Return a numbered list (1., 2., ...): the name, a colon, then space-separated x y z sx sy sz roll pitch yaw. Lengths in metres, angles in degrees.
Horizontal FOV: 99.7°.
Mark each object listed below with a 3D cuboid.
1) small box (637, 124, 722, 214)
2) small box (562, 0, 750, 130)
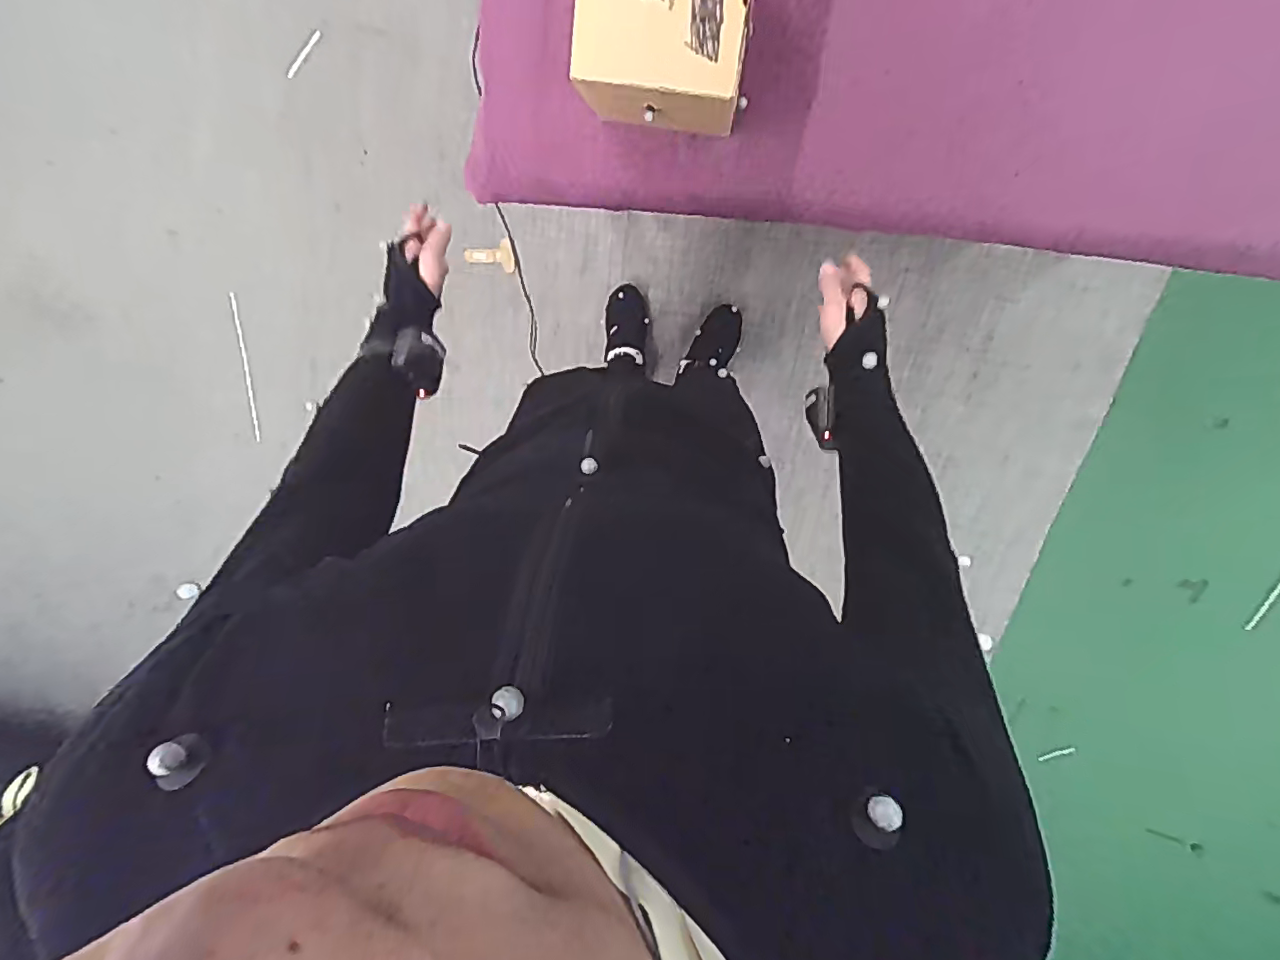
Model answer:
1. small box: 0.096 -0.736 1.286 0.179 0.176 0.168 8 113 5
2. small box: 0.027 -0.505 0.595 0.179 0.176 0.168 11 112 5
